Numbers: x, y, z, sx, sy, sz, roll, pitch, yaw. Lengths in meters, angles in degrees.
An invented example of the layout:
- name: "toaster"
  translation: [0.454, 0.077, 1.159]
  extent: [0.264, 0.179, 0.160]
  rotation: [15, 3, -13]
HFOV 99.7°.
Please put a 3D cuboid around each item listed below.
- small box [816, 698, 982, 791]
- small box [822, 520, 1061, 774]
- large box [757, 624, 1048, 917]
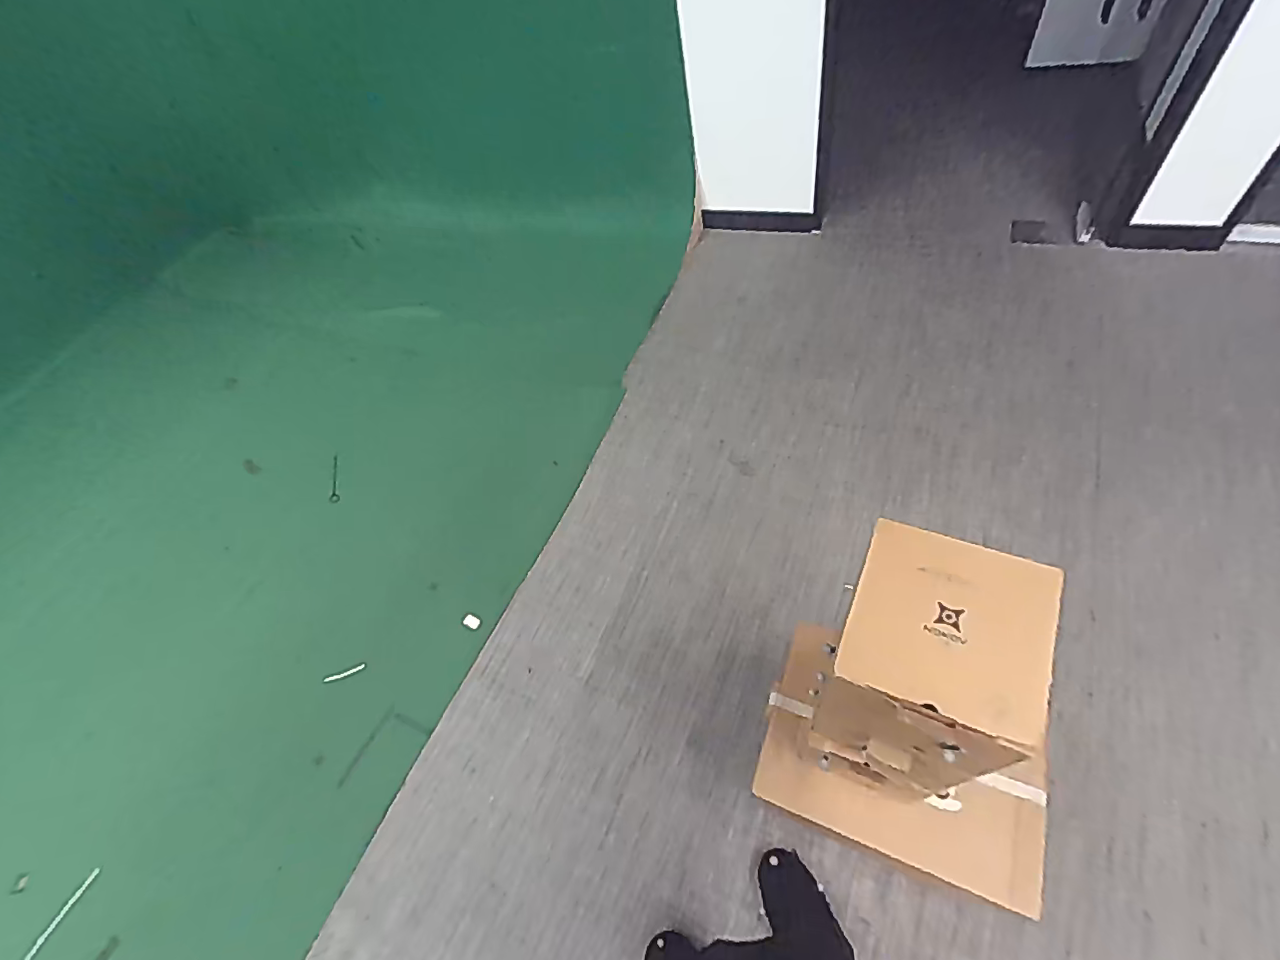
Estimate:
- name: "small box"
  translation: [0.333, 0.264, 0.687]
  extent: [0.168, 0.176, 0.179]
  rotation: [19, 63, 24]
- name: "small box"
  translation: [0.294, 0.175, 0.556]
  extent: [0.168, 0.176, 0.179]
  rotation: [17, 61, 22]
- name: "large box"
  translation: [0.447, 0.513, 0.991]
  extent: [0.408, 0.320, 0.320]
  rotation: [14, 62, 21]
